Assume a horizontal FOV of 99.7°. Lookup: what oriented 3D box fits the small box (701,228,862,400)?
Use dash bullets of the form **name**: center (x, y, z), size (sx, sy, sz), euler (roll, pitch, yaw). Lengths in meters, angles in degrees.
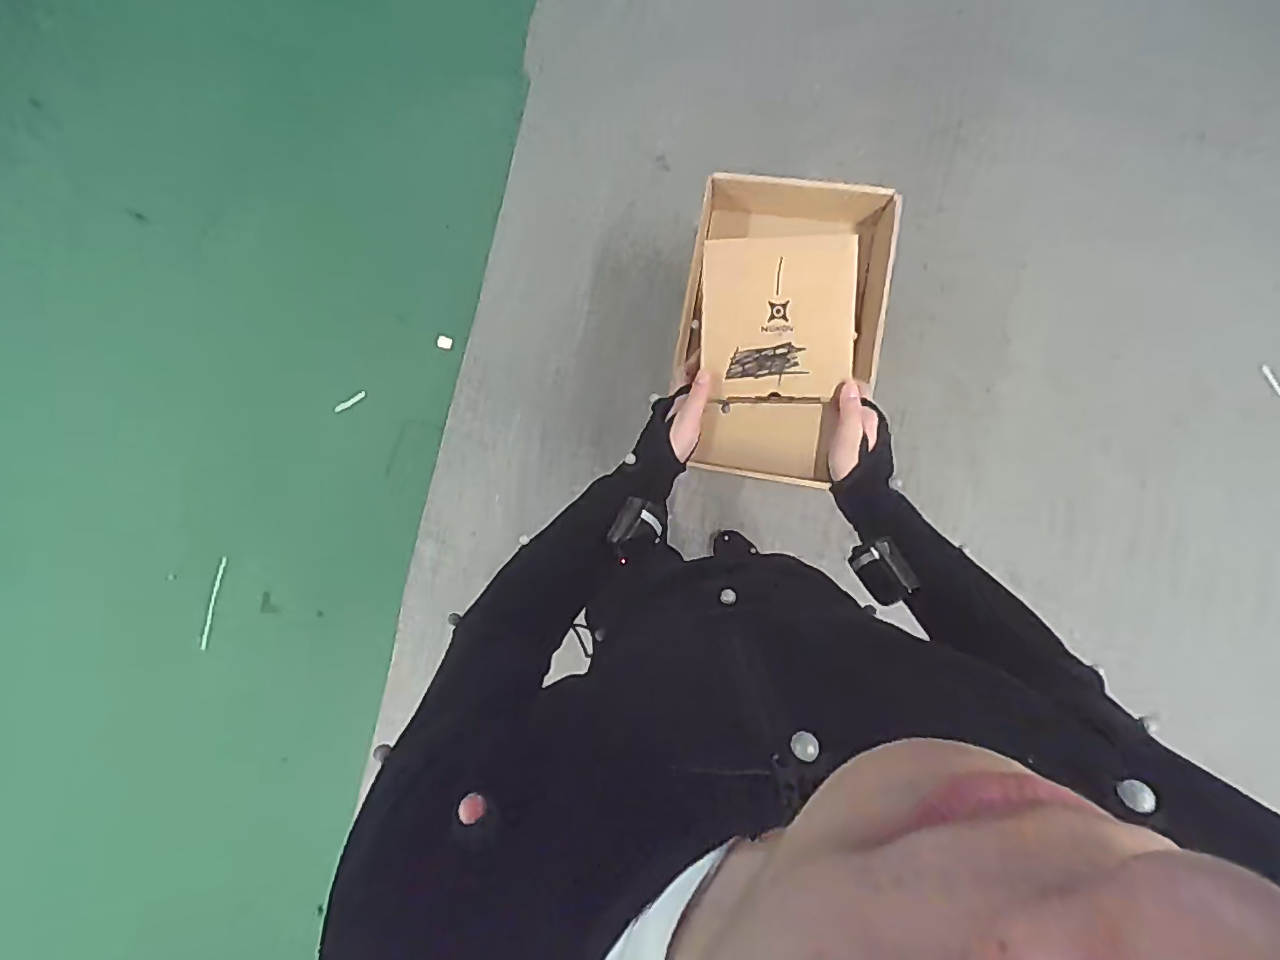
- **small box**: center (0.162, -0.188, 0.662), size (0.168, 0.176, 0.179), euler (1, 96, 7)
